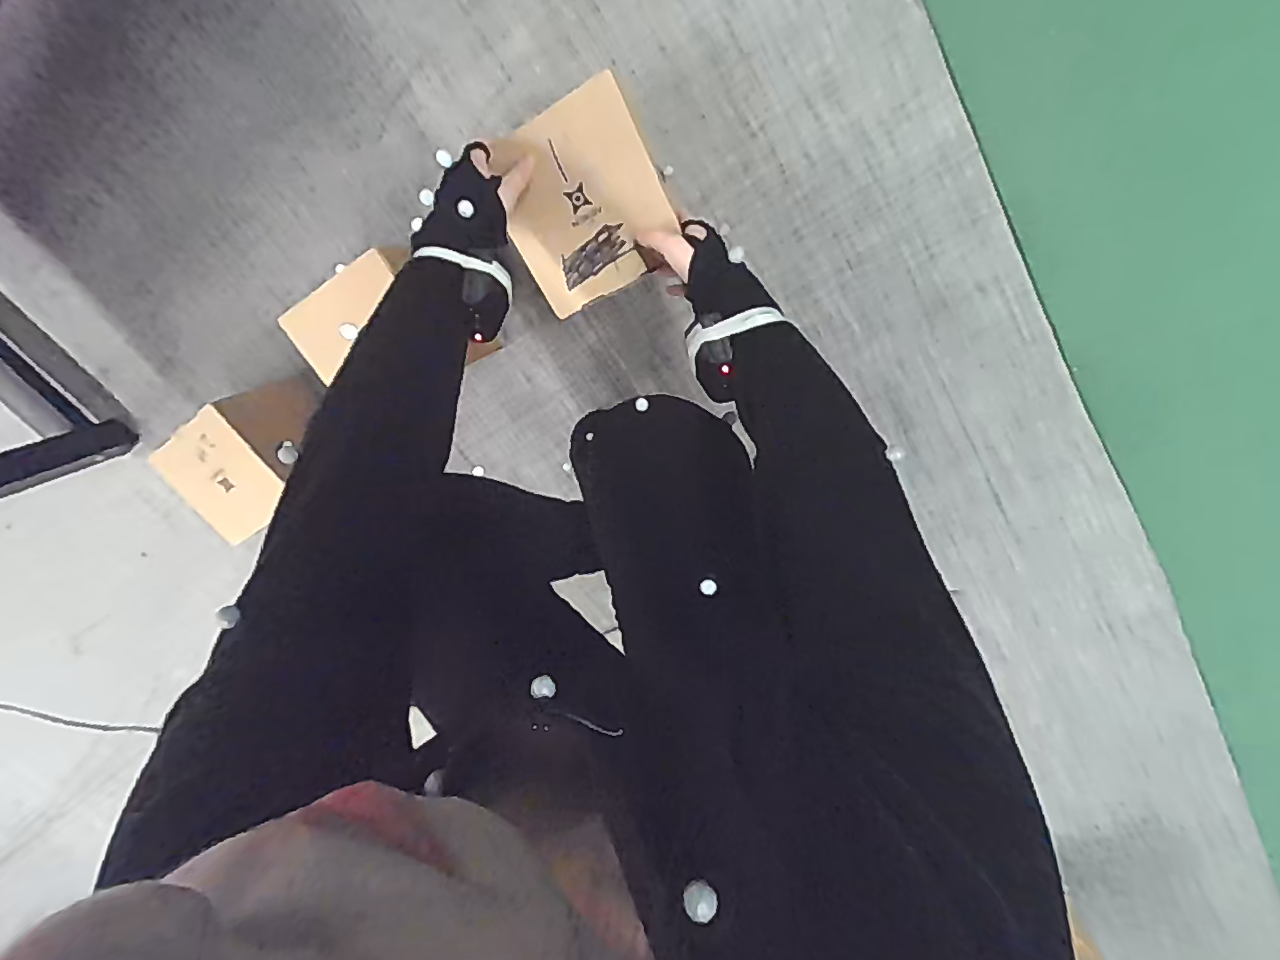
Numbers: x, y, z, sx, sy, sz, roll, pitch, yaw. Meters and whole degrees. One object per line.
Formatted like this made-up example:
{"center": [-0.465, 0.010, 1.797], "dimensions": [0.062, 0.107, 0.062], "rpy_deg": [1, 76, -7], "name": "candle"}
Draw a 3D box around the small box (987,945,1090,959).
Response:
{"center": [0.731, 0.933, 0.917], "dimensions": [0.168, 0.176, 0.179], "rpy_deg": [-39, 104, 22], "name": "small box"}
